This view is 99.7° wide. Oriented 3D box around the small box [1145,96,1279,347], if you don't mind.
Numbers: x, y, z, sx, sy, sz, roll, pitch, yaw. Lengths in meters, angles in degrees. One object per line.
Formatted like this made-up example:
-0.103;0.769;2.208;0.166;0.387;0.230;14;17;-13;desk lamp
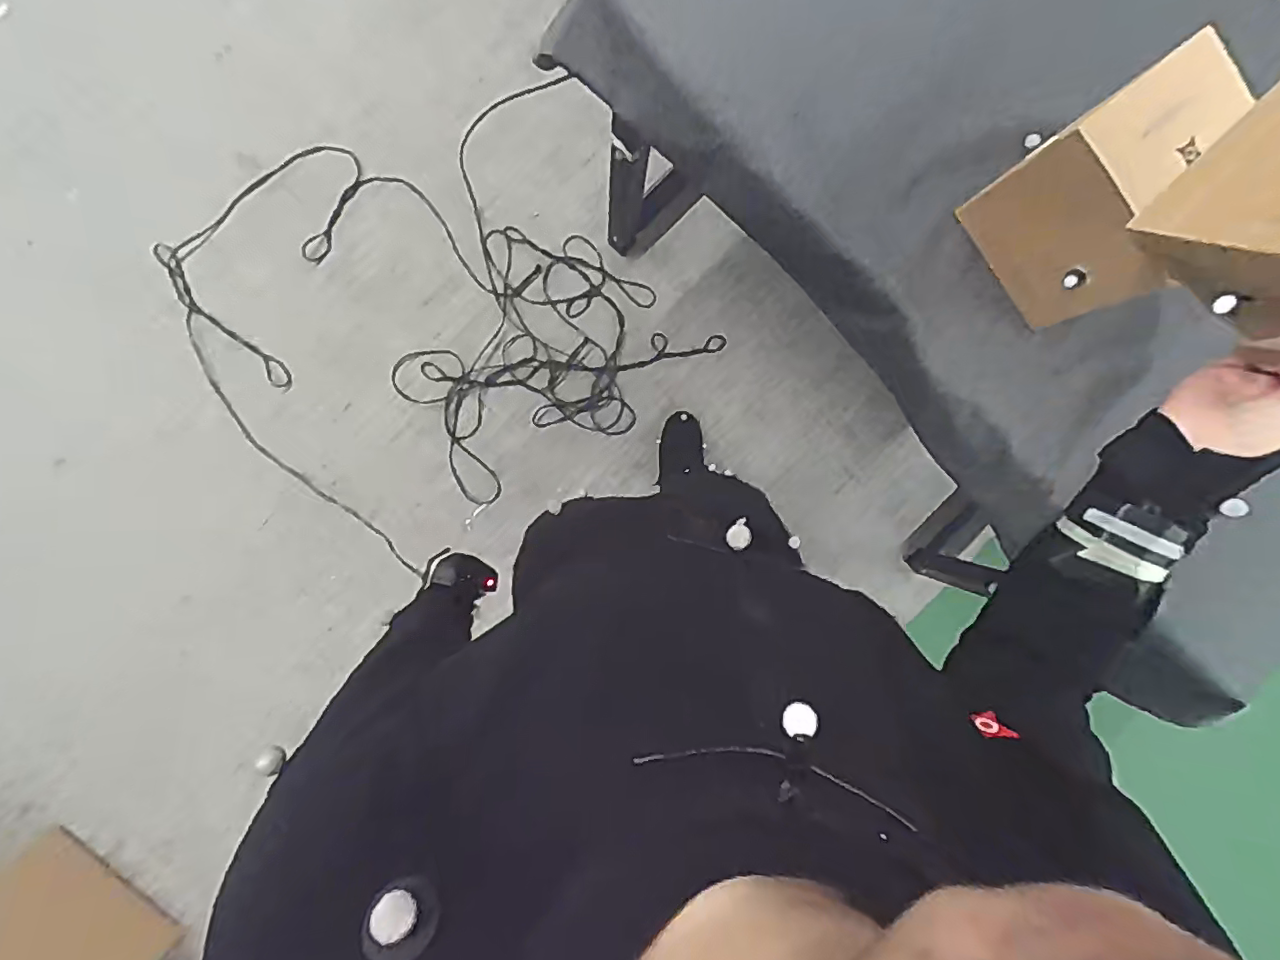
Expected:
0.470;-0.169;0.310;0.168;0.176;0.179;33;121;-8;small box

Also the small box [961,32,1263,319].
0.495;-0.293;0.571;0.168;0.176;0.179;-38;93;-3;small box

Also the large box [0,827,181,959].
-1.344;1.069;1.152;0.408;0.320;0.320;45;88;-3;large box
